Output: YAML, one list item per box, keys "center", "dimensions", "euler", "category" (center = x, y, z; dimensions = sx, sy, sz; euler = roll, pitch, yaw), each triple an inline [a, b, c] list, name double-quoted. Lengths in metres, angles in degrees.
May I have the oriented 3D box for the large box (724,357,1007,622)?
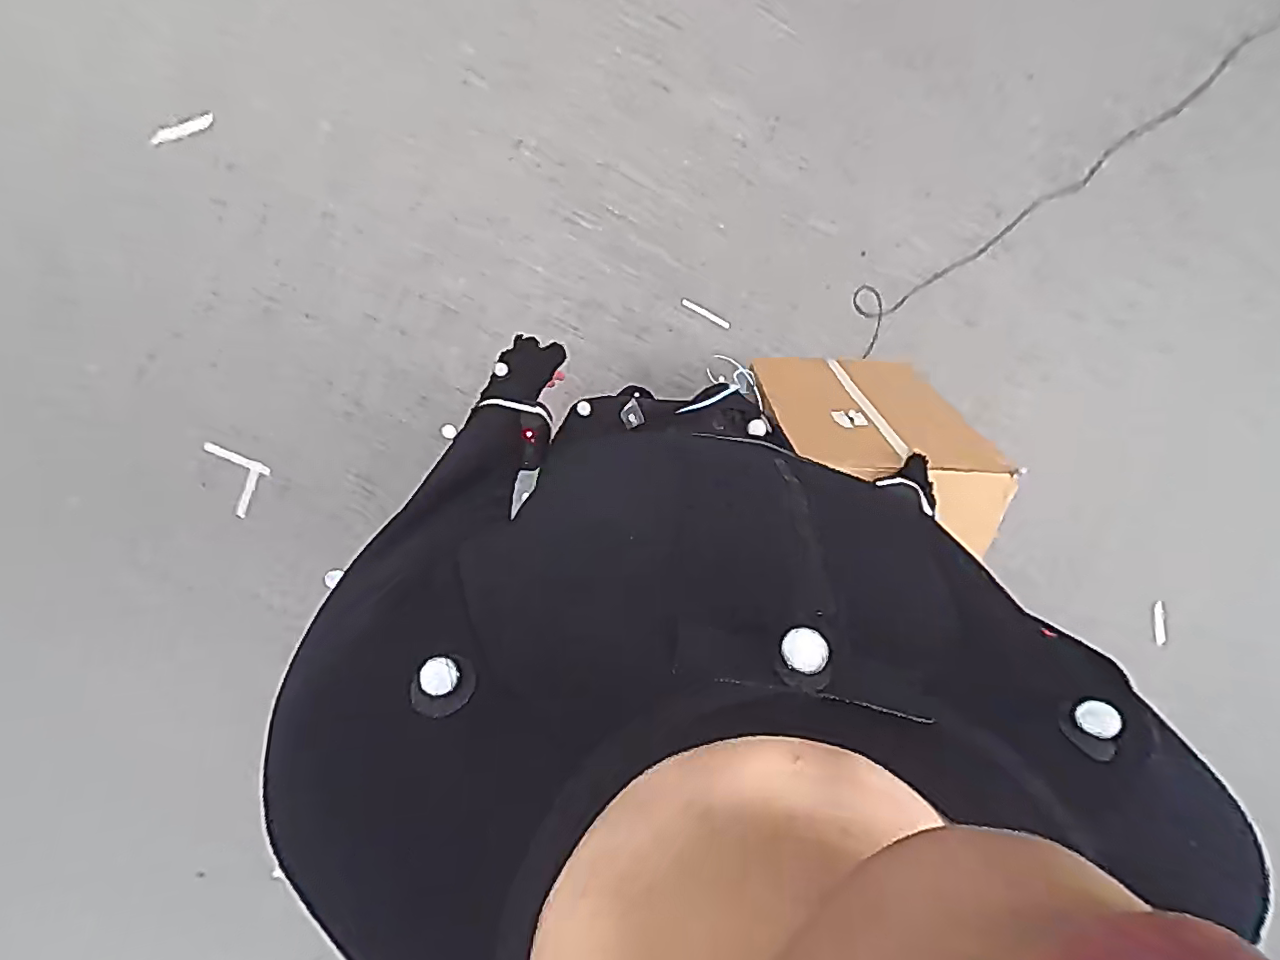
- center: [0.353, 0.001, 0.996]
  dimensions: [0.320, 0.408, 0.320]
  euler: [2, 125, -1]
  category: "large box"
